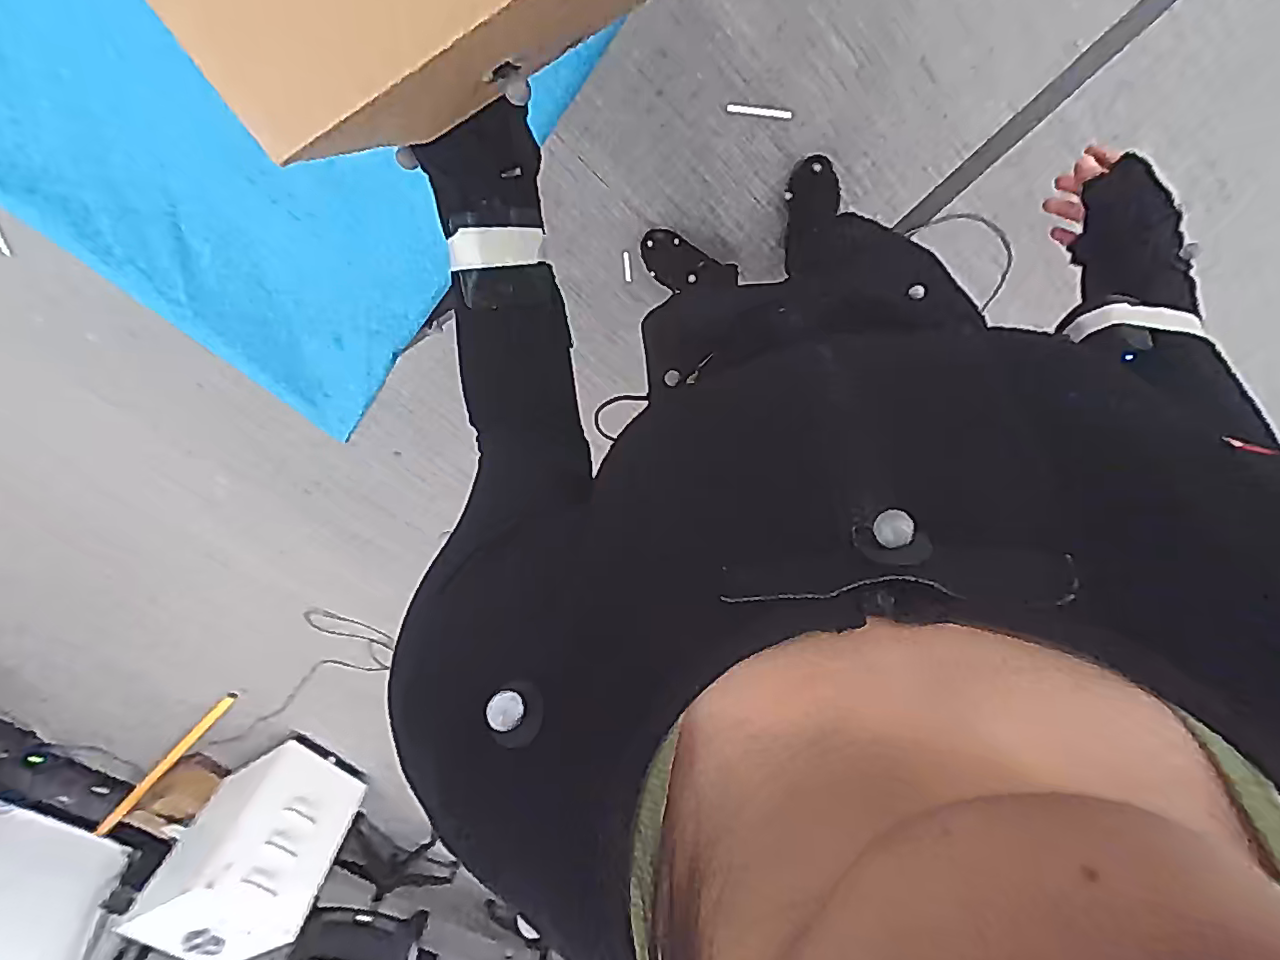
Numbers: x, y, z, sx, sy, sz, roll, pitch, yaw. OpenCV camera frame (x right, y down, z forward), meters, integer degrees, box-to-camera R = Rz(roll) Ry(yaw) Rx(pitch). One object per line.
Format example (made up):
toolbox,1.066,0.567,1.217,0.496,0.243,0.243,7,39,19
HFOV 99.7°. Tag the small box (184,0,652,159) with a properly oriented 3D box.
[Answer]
small box,-0.086,-0.253,0.198,0.168,0.176,0.179,-22,122,13
